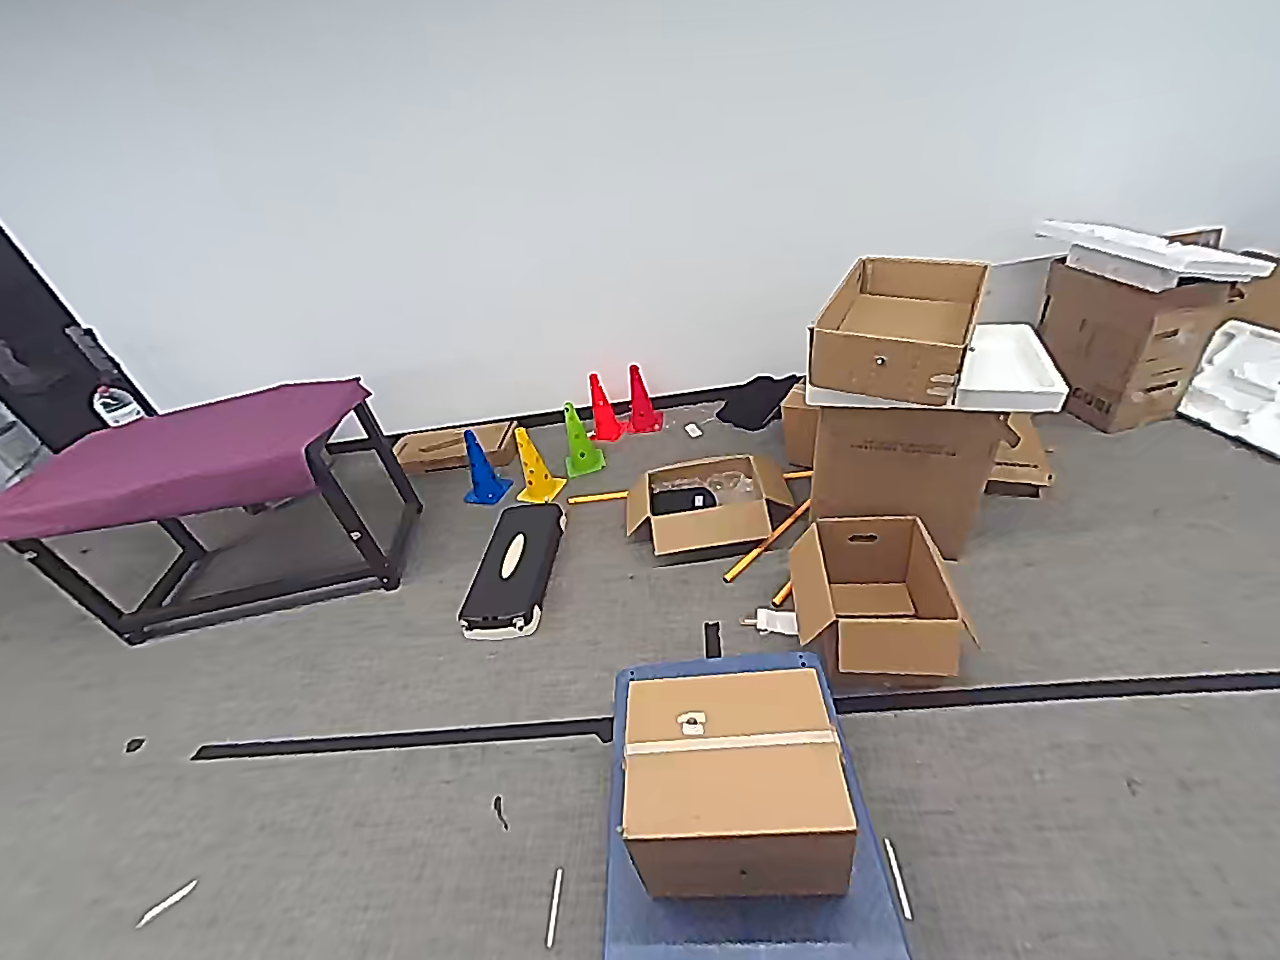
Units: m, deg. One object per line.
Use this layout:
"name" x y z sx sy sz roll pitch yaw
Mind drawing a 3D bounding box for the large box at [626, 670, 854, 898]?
"large box" 0.200 0.645 1.147 0.408 0.320 0.320 -8 35 7
